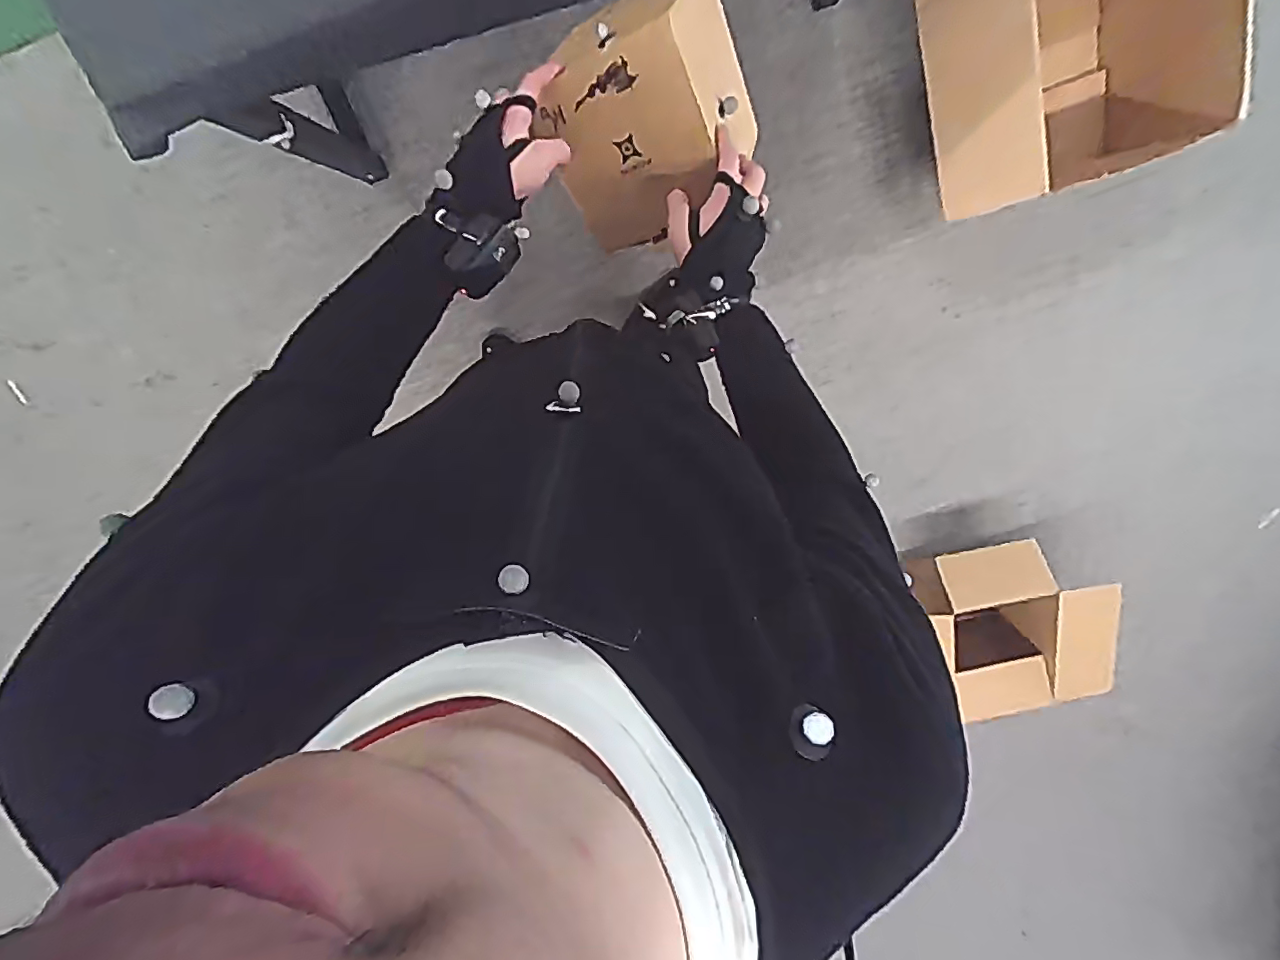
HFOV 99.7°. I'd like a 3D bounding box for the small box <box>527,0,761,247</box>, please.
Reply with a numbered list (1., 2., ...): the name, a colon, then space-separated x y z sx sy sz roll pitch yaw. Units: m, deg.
1. small box: 0.019 -0.389 0.570 0.168 0.176 0.179 -4 144 30
